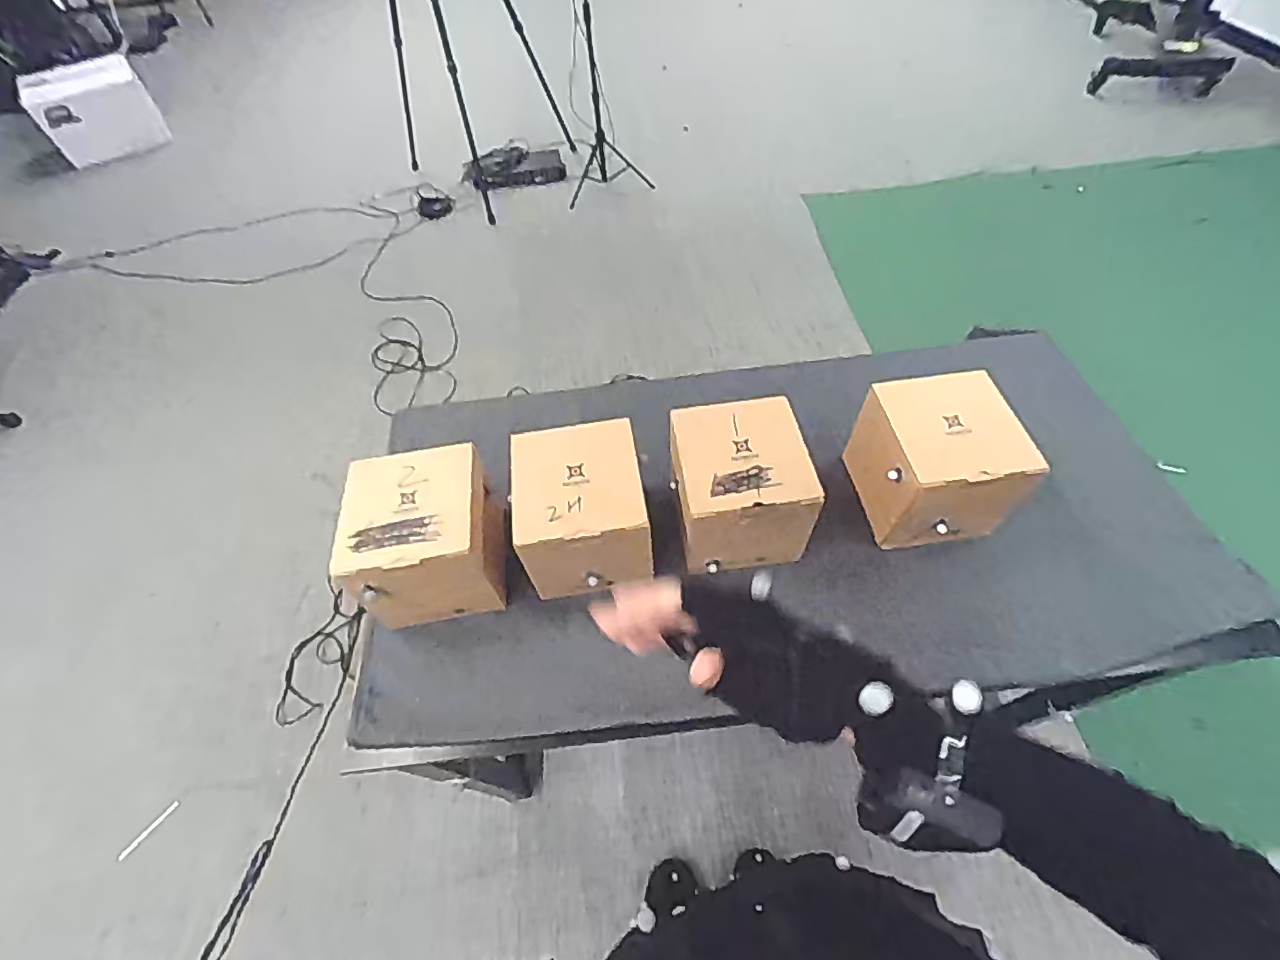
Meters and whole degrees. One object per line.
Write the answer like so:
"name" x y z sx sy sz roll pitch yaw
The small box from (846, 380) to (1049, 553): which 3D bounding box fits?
"small box" 0.418 -0.016 0.775 0.168 0.176 0.179 -7 55 -1
